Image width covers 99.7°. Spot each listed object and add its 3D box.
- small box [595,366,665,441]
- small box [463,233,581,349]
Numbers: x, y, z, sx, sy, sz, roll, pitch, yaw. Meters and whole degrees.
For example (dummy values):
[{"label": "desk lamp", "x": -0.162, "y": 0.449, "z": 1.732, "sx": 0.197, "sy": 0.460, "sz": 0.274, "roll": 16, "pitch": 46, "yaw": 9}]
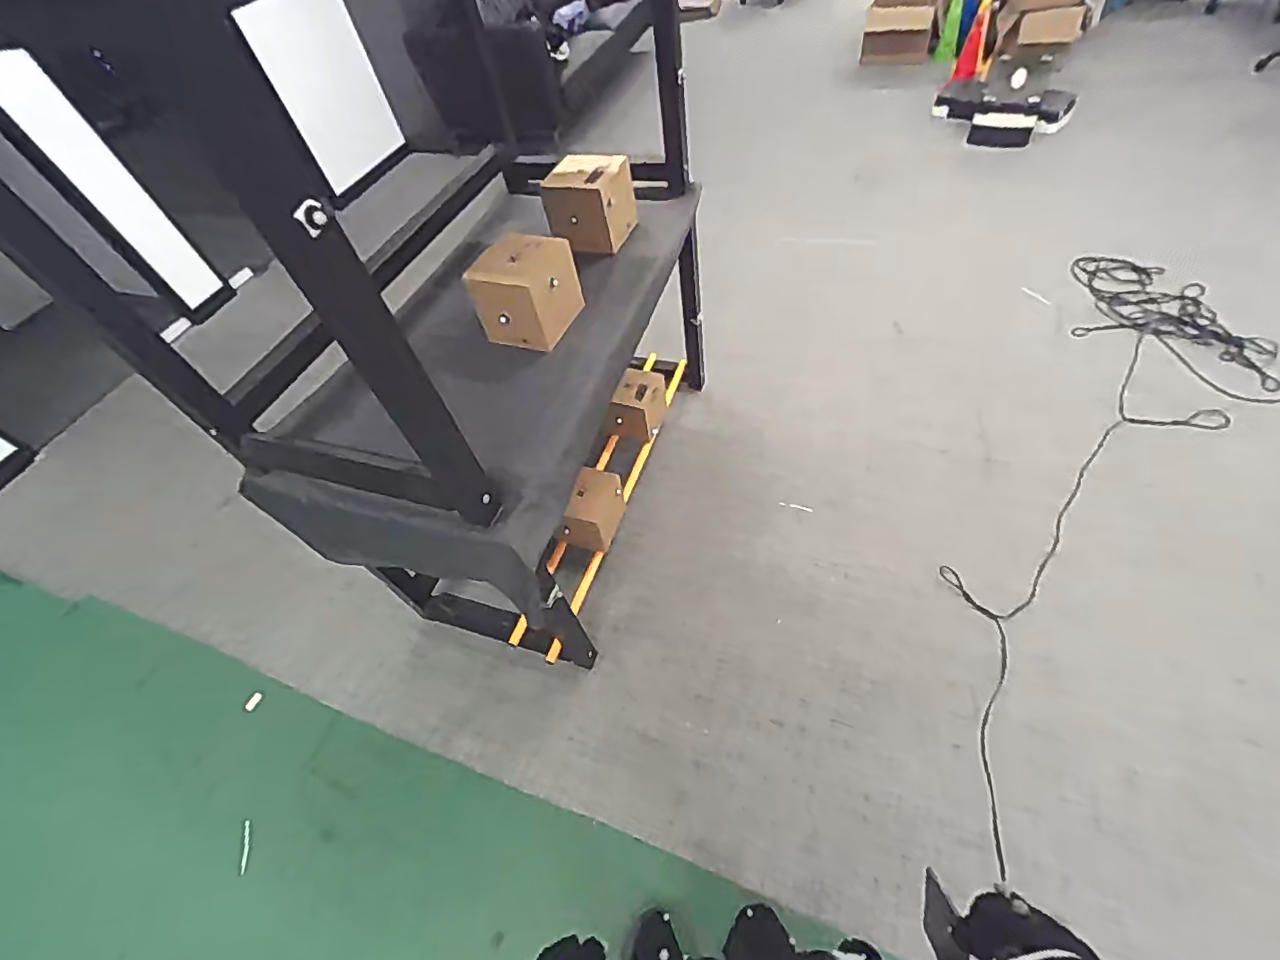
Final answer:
[{"label": "small box", "x": -0.026, "y": -0.253, "z": 1.816, "sx": 0.179, "sy": 0.176, "sz": 0.168, "roll": 15, "pitch": 57, "yaw": 19}, {"label": "small box", "x": -0.247, "y": -0.413, "z": 1.185, "sx": 0.168, "sy": 0.176, "sz": 0.179, "roll": 14, "pitch": 57, "yaw": 19}]
